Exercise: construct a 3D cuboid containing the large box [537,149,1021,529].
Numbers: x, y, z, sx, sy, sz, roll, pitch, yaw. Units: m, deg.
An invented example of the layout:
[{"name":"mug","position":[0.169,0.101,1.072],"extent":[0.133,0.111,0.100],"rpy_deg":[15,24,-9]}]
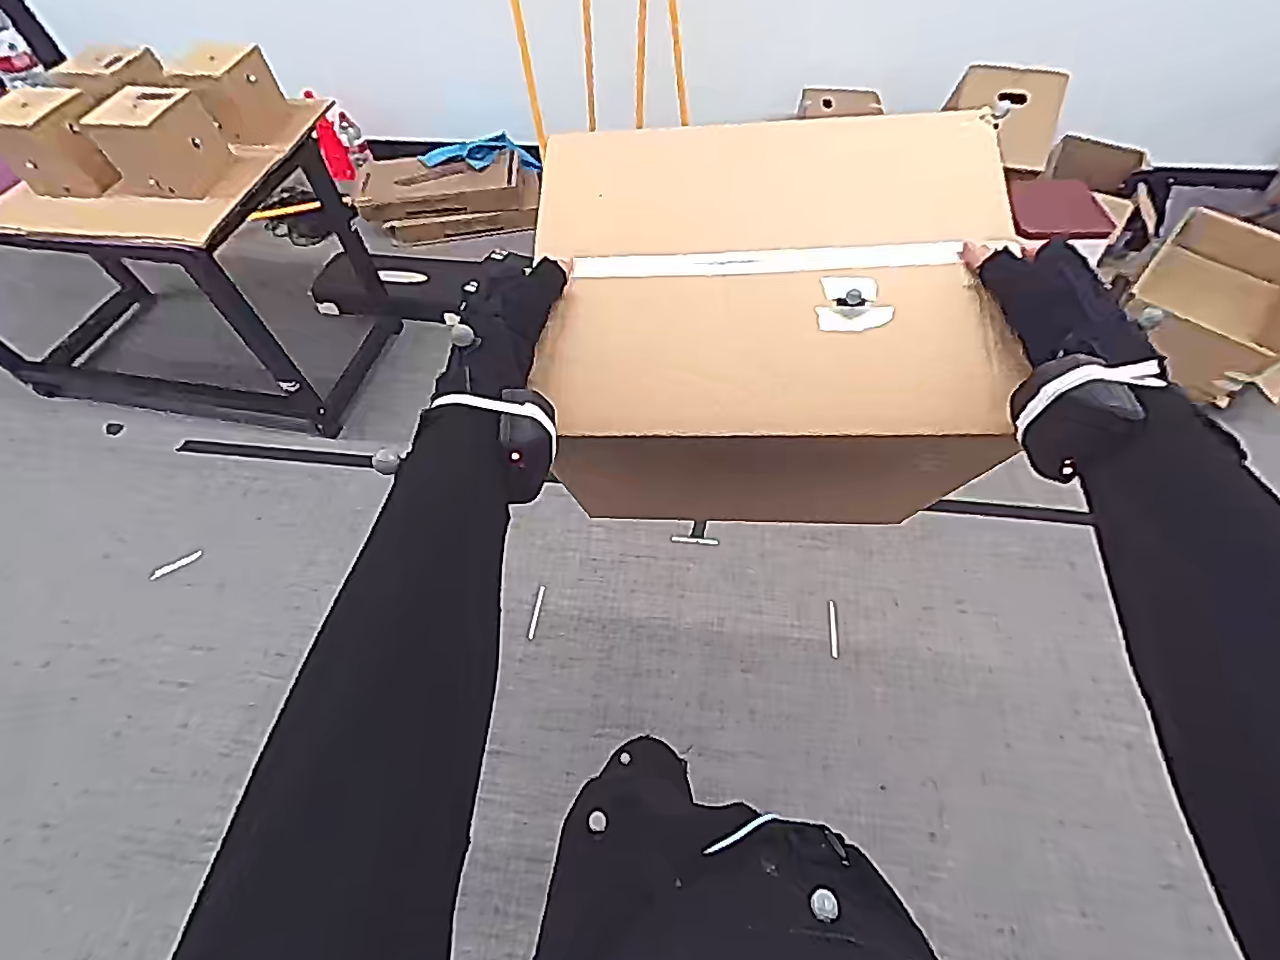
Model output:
[{"name":"large box","position":[0.120,-0.126,0.630],"extent":[0.408,0.320,0.320],"rpy_deg":[0,74,5]}]
